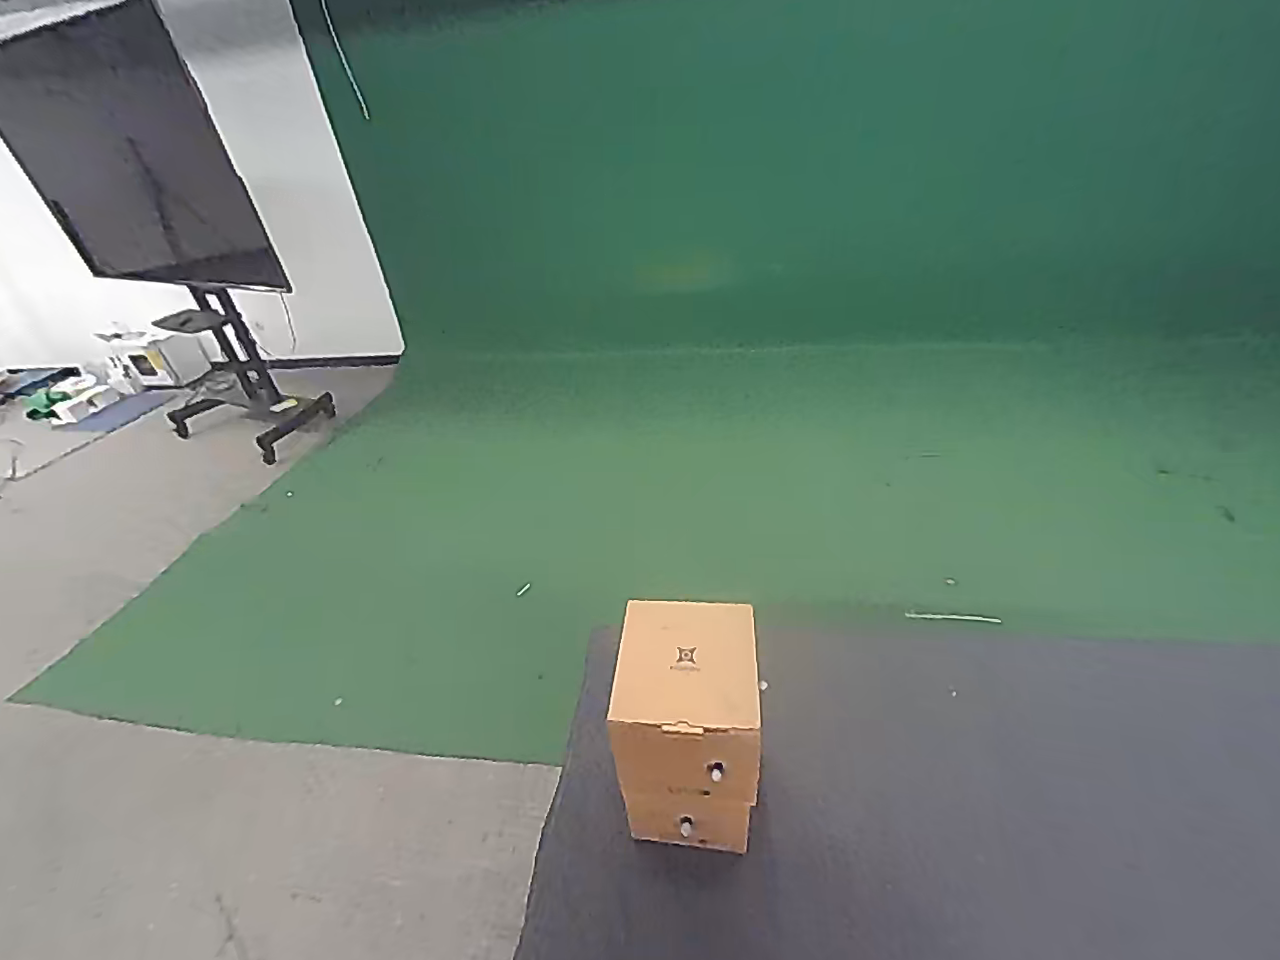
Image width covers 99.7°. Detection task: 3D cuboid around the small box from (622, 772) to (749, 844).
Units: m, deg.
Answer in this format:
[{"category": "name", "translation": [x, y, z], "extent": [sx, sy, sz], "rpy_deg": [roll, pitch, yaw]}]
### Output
[{"category": "small box", "translation": [0.076, 0.400, 0.791], "extent": [0.168, 0.176, 0.179], "rpy_deg": [2, 36, 9]}]

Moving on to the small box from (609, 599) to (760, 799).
[{"category": "small box", "translation": [0.062, 0.275, 0.686], "extent": [0.168, 0.176, 0.179], "rpy_deg": [1, 35, 7]}]
